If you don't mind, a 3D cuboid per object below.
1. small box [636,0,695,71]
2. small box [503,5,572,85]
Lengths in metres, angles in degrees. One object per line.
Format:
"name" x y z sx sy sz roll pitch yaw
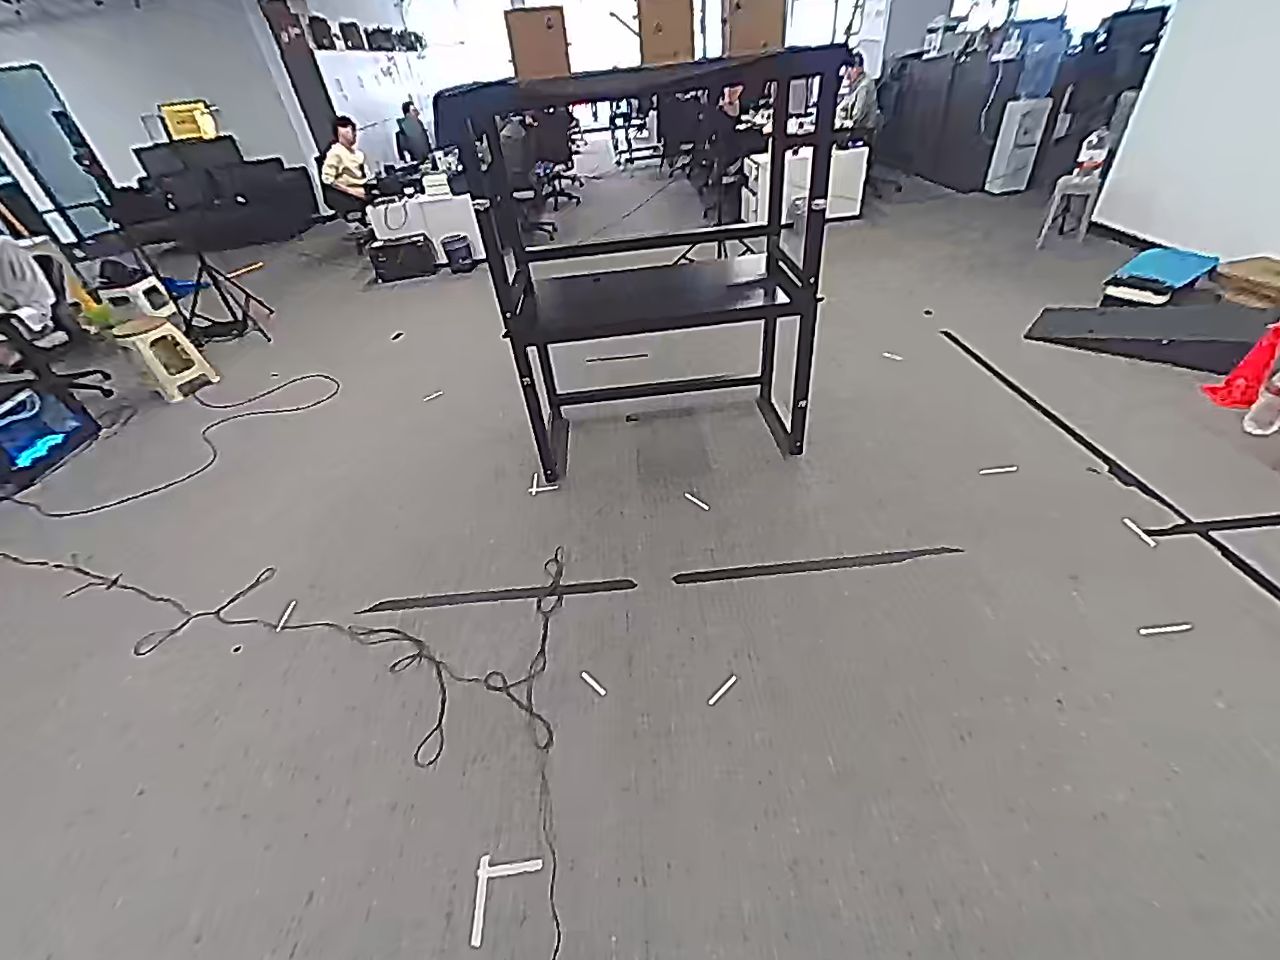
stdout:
"small box" 0.077 -1.362 1.645 0.168 0.176 0.179 -4 37 3
"small box" -0.302 -1.307 1.630 0.179 0.176 0.168 -9 36 -3
